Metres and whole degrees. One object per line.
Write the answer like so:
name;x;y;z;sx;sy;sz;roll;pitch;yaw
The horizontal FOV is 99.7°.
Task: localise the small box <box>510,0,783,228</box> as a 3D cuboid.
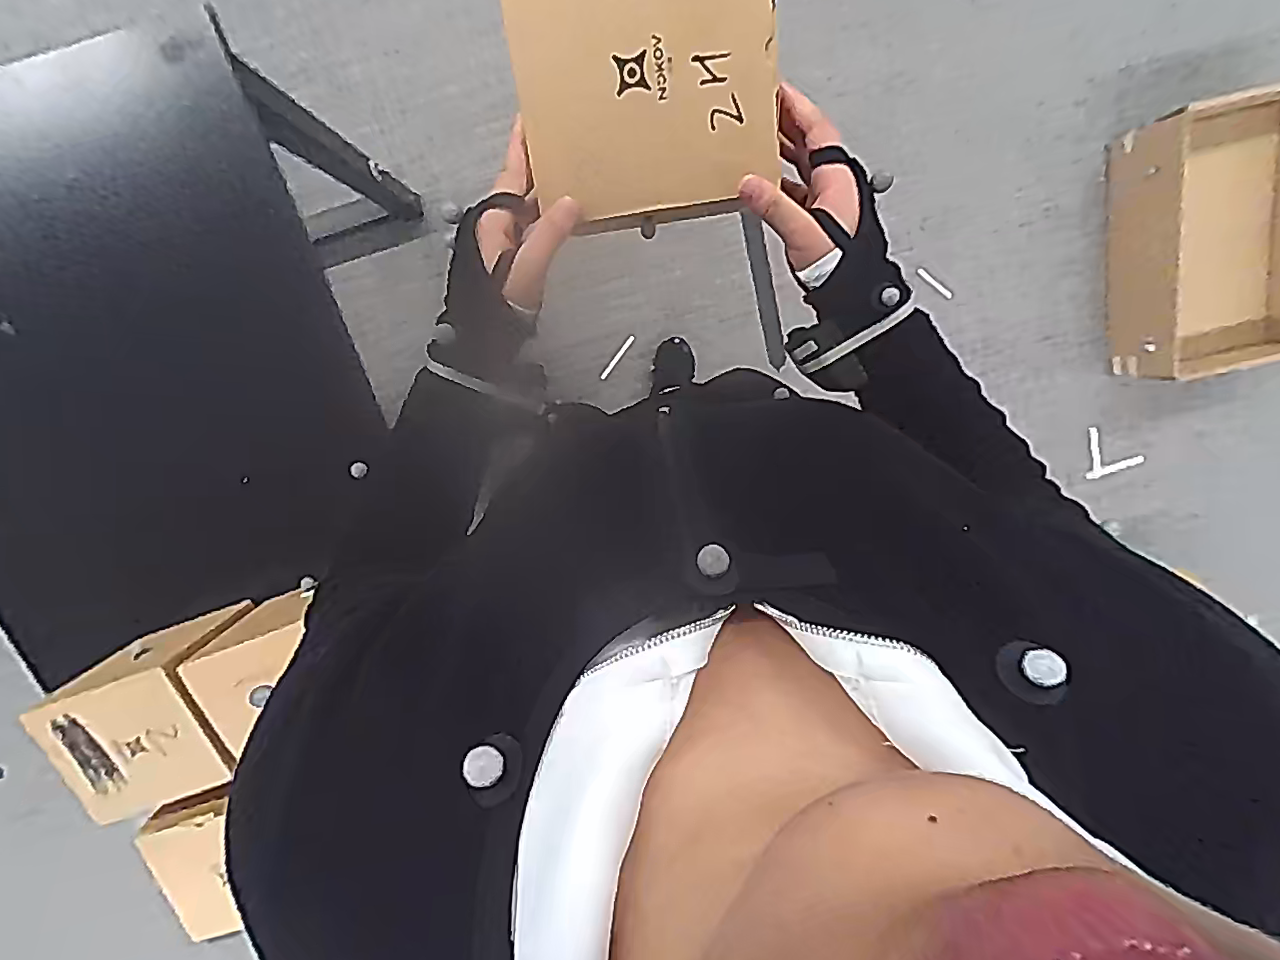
small box;0.010;-0.306;0.438;0.179;0.176;0.168;-7;113;4
